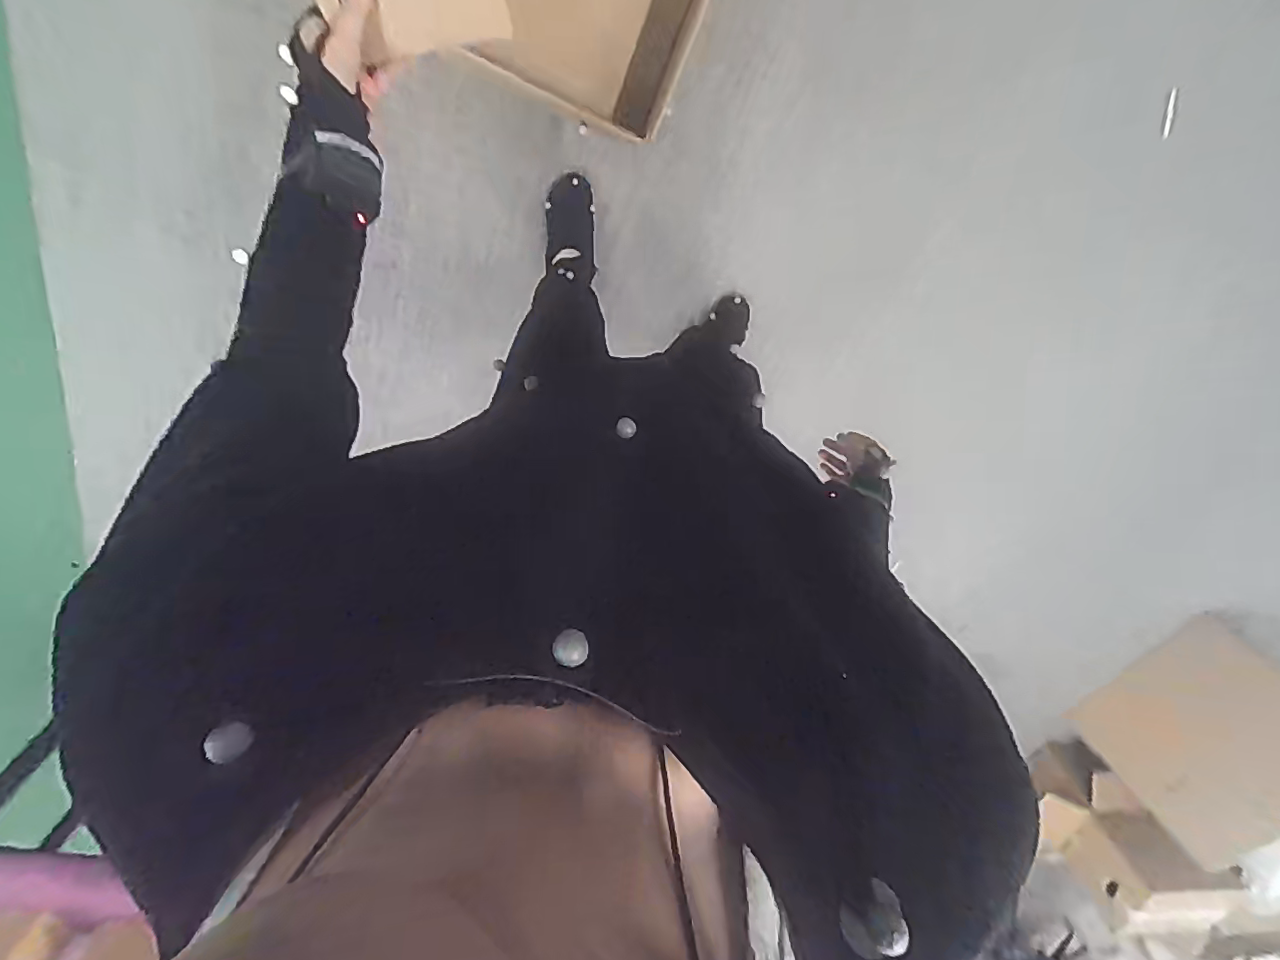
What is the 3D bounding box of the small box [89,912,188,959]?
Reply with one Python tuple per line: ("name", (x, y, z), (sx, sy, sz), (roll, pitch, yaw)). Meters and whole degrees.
("small box", (-1.369, 1.301, 1.457), (0.179, 0.176, 0.168), (22, 118, -16))
